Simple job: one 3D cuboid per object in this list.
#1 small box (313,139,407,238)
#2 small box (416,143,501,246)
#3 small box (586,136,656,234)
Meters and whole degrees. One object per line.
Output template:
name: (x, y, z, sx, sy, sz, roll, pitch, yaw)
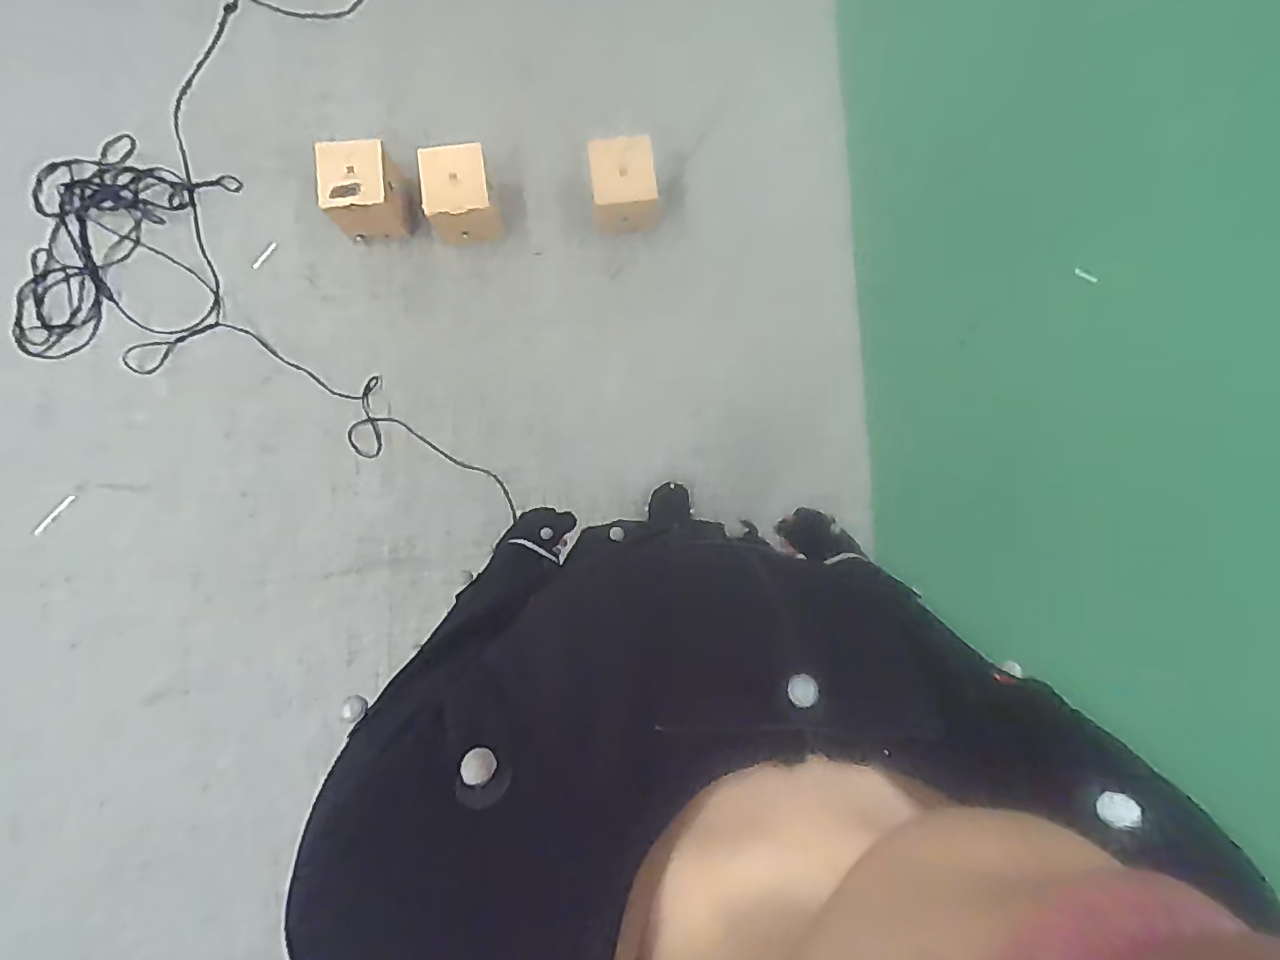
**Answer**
small box: (-0.732, -0.760, 1.430, 0.168, 0.176, 0.179, -5, 86, -3)
small box: (-0.477, -0.754, 1.442, 0.168, 0.176, 0.179, -8, 88, -2)
small box: (-0.052, -0.785, 1.461, 0.168, 0.176, 0.179, -7, 87, -4)
